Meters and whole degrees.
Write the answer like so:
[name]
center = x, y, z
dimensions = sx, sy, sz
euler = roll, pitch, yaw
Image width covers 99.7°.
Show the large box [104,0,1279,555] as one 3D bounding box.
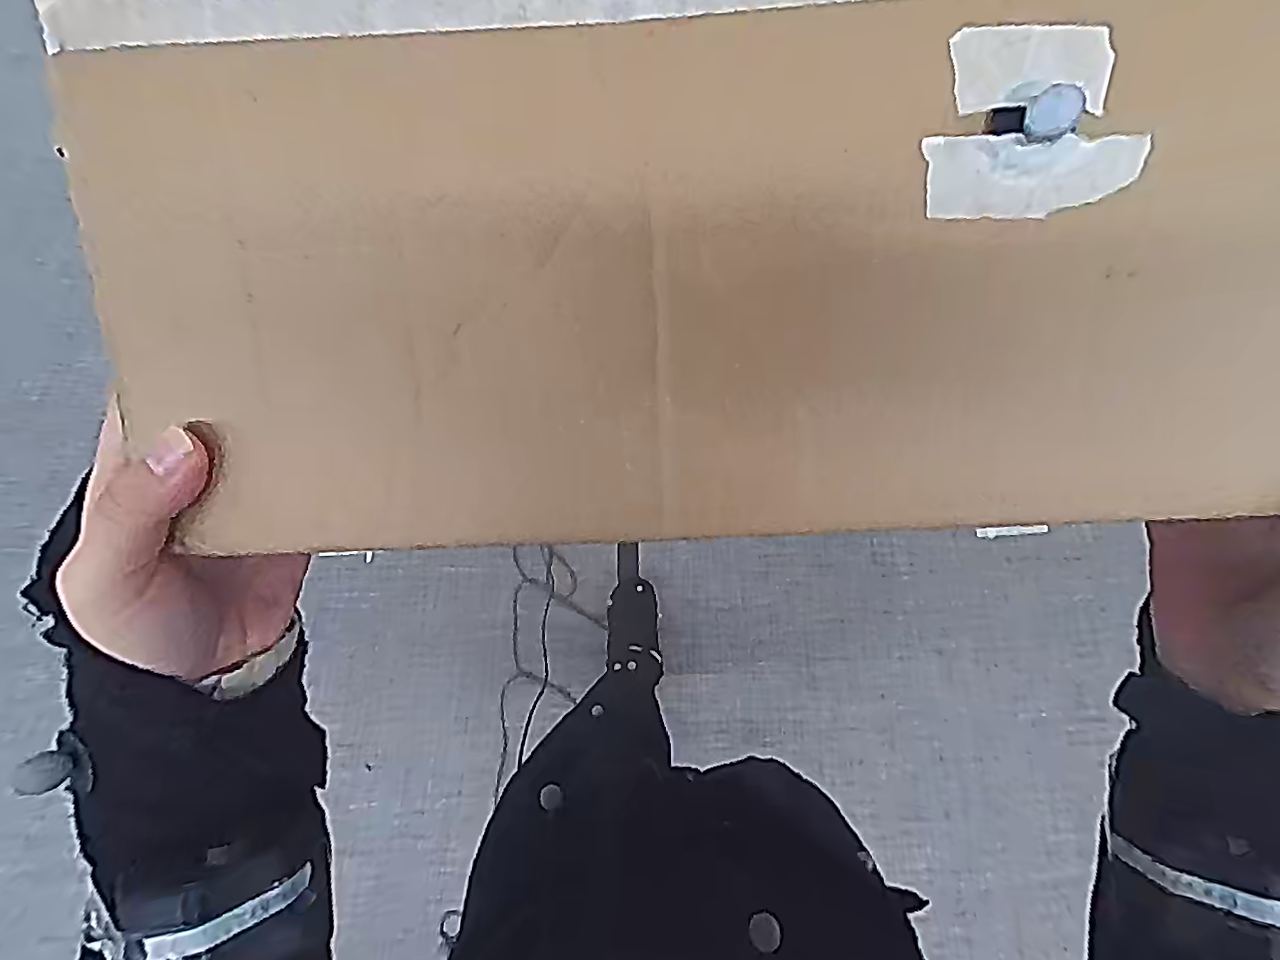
[large box]
center = 0.037, -0.157, 0.308
dimensions = 0.408, 0.320, 0.320
euler = -3, 99, 1
